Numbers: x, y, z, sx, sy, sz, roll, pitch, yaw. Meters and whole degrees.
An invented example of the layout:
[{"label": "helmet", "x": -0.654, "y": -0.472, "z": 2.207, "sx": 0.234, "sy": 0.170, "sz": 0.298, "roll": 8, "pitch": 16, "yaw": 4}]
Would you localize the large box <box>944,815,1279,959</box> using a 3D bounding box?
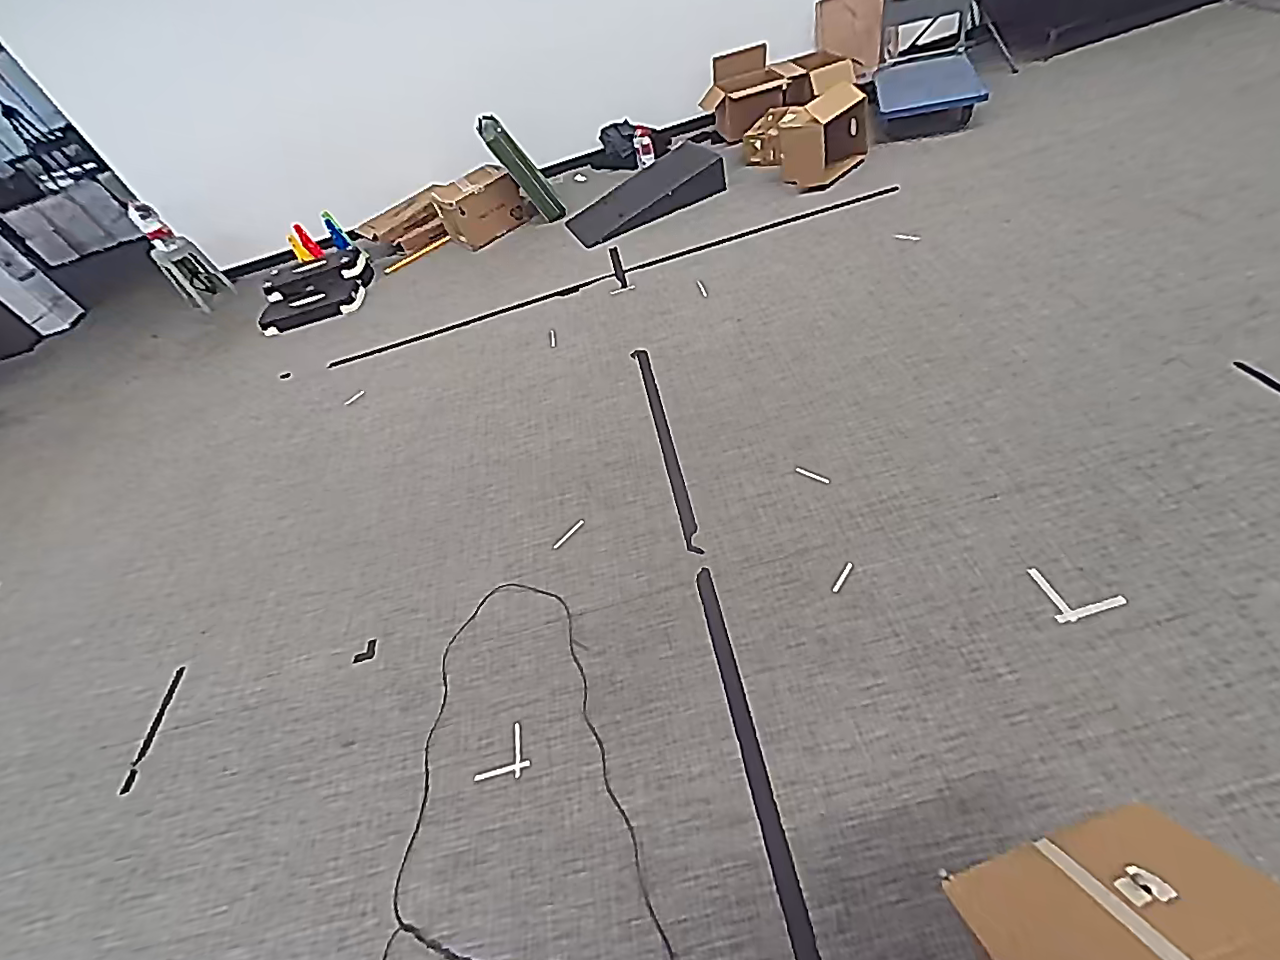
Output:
[{"label": "large box", "x": 0.631, "y": 0.660, "z": 0.576, "sx": 0.320, "sy": 0.408, "sz": 0.320, "roll": -23, "pitch": 82, "yaw": 2}]
